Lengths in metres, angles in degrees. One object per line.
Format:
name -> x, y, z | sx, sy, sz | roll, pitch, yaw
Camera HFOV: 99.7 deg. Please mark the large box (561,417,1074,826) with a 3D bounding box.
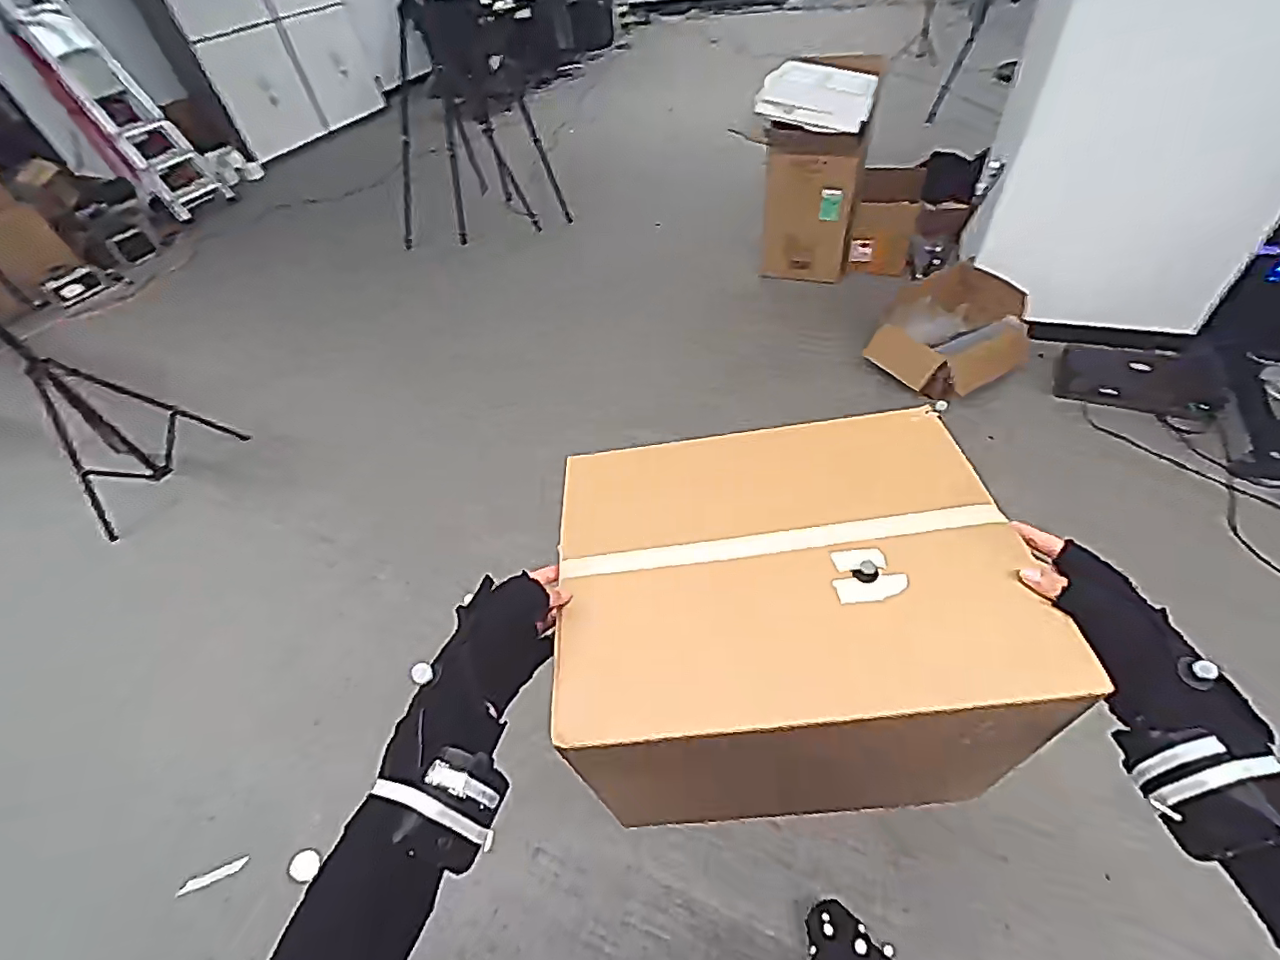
large box -> 0.141, 0.169, 0.622 | 0.408, 0.320, 0.320 | -8, 47, 4
